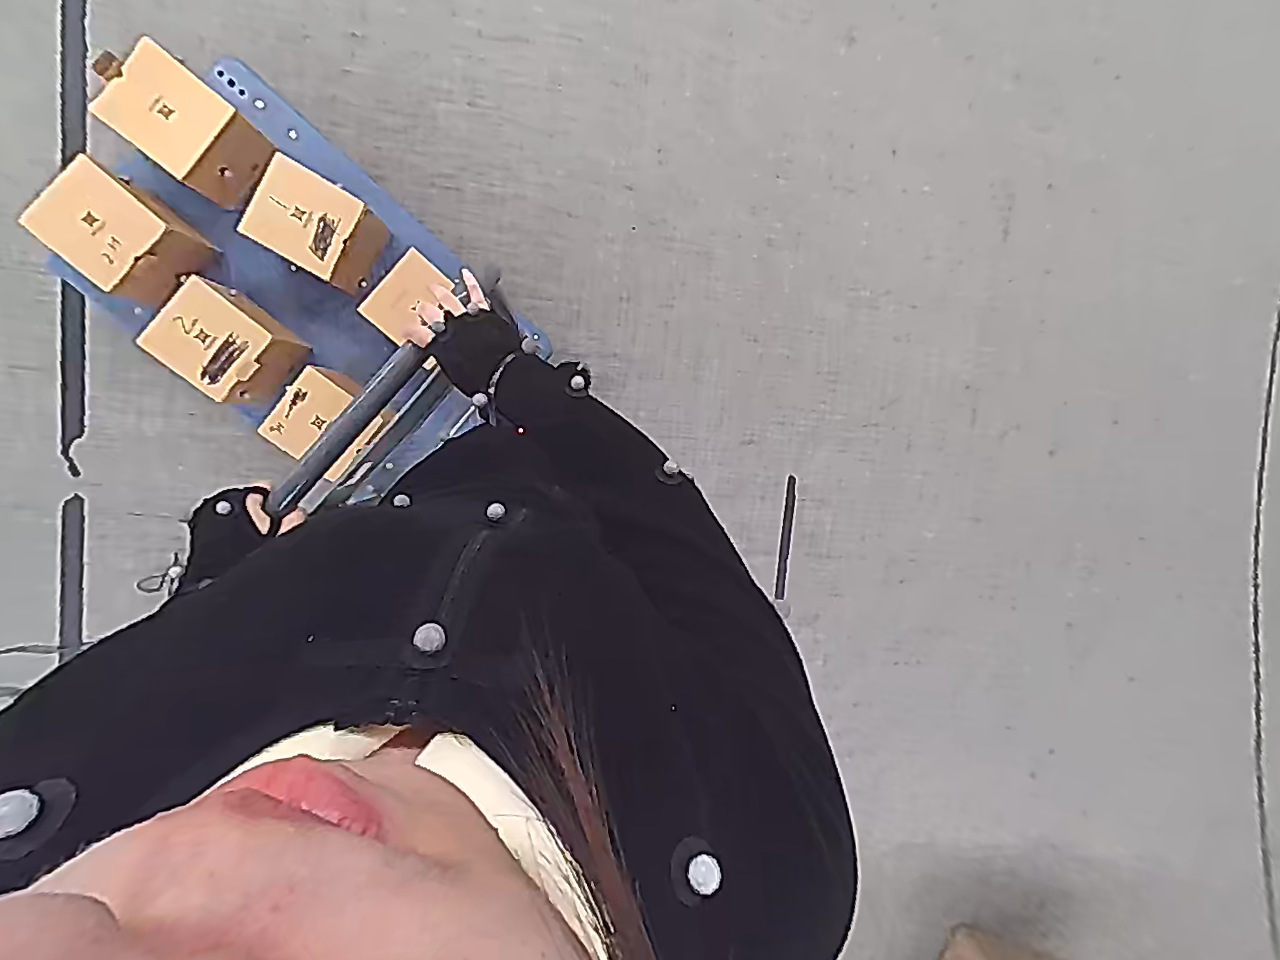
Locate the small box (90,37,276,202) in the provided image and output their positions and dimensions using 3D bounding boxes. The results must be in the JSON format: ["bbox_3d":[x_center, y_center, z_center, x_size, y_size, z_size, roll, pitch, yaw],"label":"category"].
[{"bbox_3d":[-0.849,-0.663,1.028,0.179,0.176,0.168,38,91,-12],"label":"small box"}]

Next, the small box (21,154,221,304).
[{"bbox_3d":[-0.973,-0.463,1.034,0.179,0.176,0.168,42,90,-13],"label":"small box"}]

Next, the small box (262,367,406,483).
[{"bbox_3d":[-0.627,-0.118,1.137,0.179,0.176,0.168,37,89,-12],"label":"small box"}]

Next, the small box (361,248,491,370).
[{"bbox_3d":[-0.436,-0.347,1.140,0.179,0.176,0.168,41,89,-11],"label":"small box"}]

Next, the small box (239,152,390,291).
[{"bbox_3d":[-0.637,-0.501,1.085,0.179,0.176,0.168,29,92,-11],"label":"small box"}]
